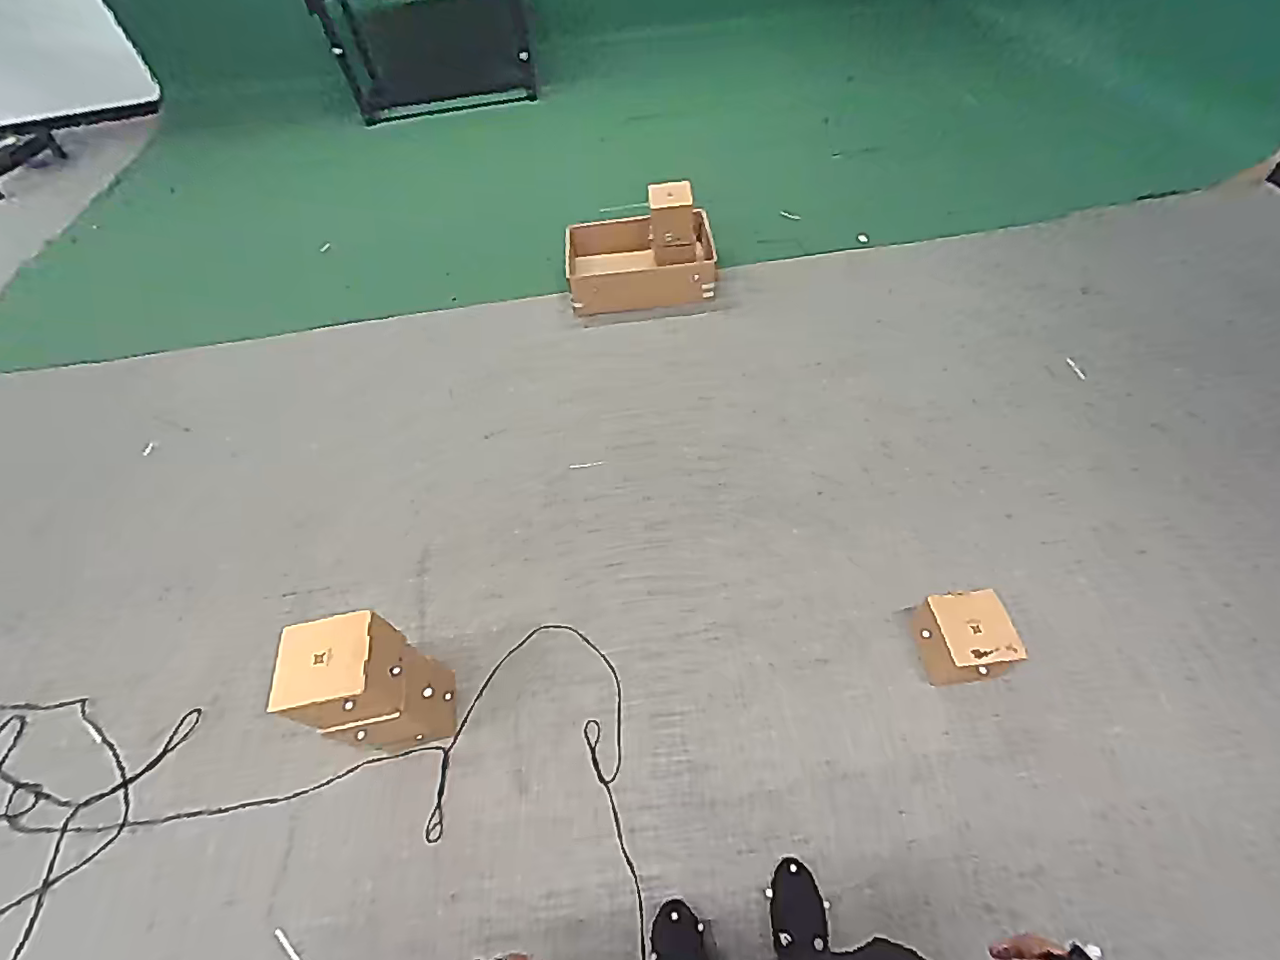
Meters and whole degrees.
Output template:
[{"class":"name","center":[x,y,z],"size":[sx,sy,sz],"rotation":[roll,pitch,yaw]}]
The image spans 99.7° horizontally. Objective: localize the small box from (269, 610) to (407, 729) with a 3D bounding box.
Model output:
[{"class":"small box","center":[-0.598,0.388,1.093],"size":[0.179,0.176,0.168],"rotation":[-12,54,-3]}]

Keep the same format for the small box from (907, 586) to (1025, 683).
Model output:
[{"class":"small box","center":[0.793,0.385,1.341],"size":[0.168,0.176,0.179],"rotation":[-8,54,1]}]

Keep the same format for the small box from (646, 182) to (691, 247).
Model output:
[{"class":"small box","center":[0.115,-1.069,2.183],"size":[0.168,0.176,0.179],"rotation":[-6,56,3]}]

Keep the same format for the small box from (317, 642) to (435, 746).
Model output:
[{"class":"small box","center":[-0.586,0.487,1.221],"size":[0.179,0.176,0.168],"rotation":[-11,55,-3]}]

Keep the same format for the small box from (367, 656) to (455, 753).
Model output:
[{"class":"small box","center":[-0.578,0.568,1.364],"size":[0.179,0.176,0.168],"rotation":[-15,54,-4]}]
